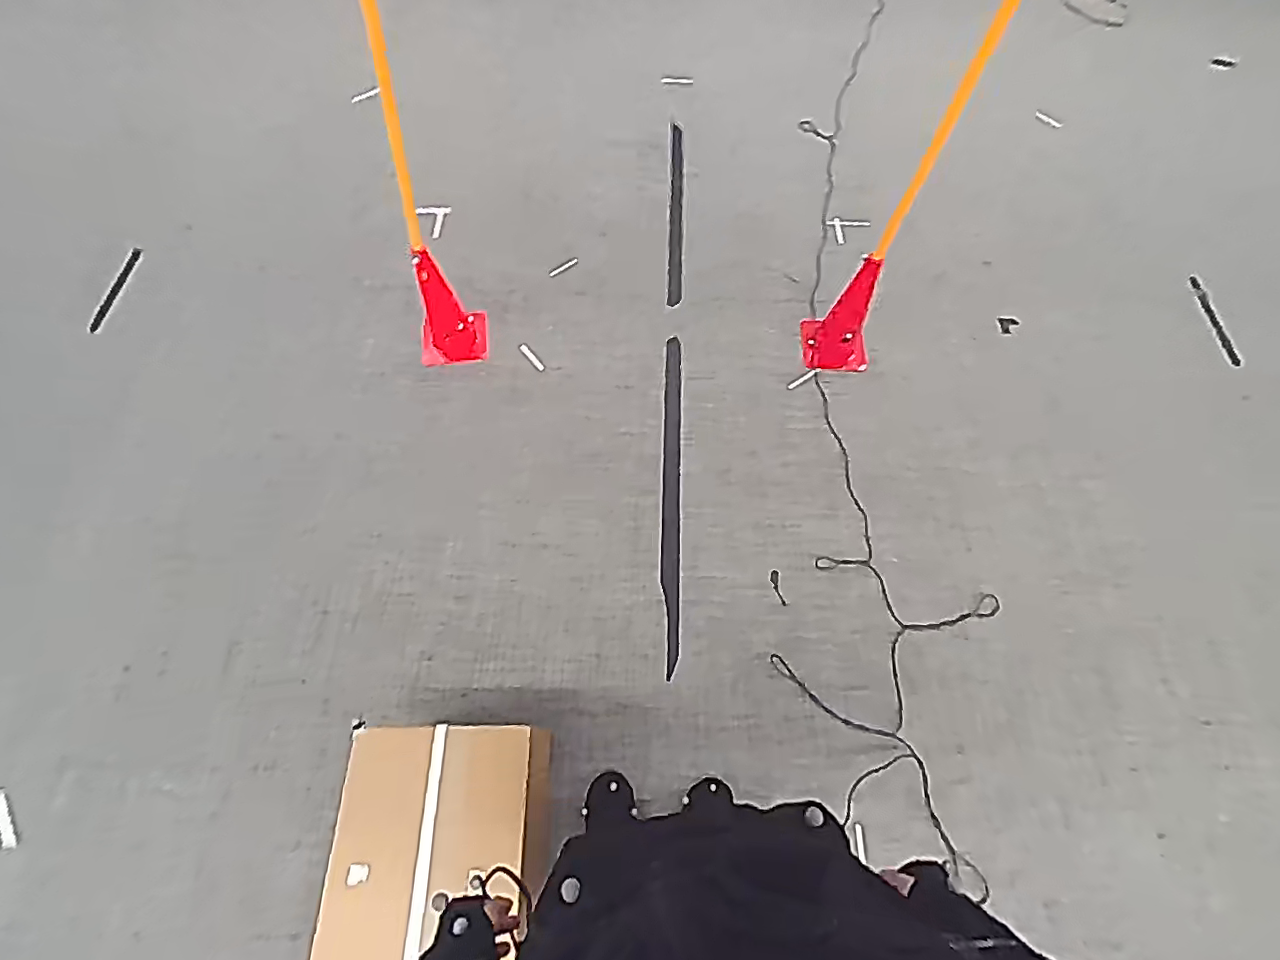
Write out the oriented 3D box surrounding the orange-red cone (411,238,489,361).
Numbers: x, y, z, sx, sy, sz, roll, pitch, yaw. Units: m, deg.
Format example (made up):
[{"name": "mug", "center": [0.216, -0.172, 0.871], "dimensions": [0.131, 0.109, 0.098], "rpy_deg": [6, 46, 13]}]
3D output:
[{"name": "orange-red cone", "center": [-0.579, -0.534, 1.555], "dimensions": [0.199, 0.360, 0.198], "rpy_deg": [-6, 64, -3]}]
